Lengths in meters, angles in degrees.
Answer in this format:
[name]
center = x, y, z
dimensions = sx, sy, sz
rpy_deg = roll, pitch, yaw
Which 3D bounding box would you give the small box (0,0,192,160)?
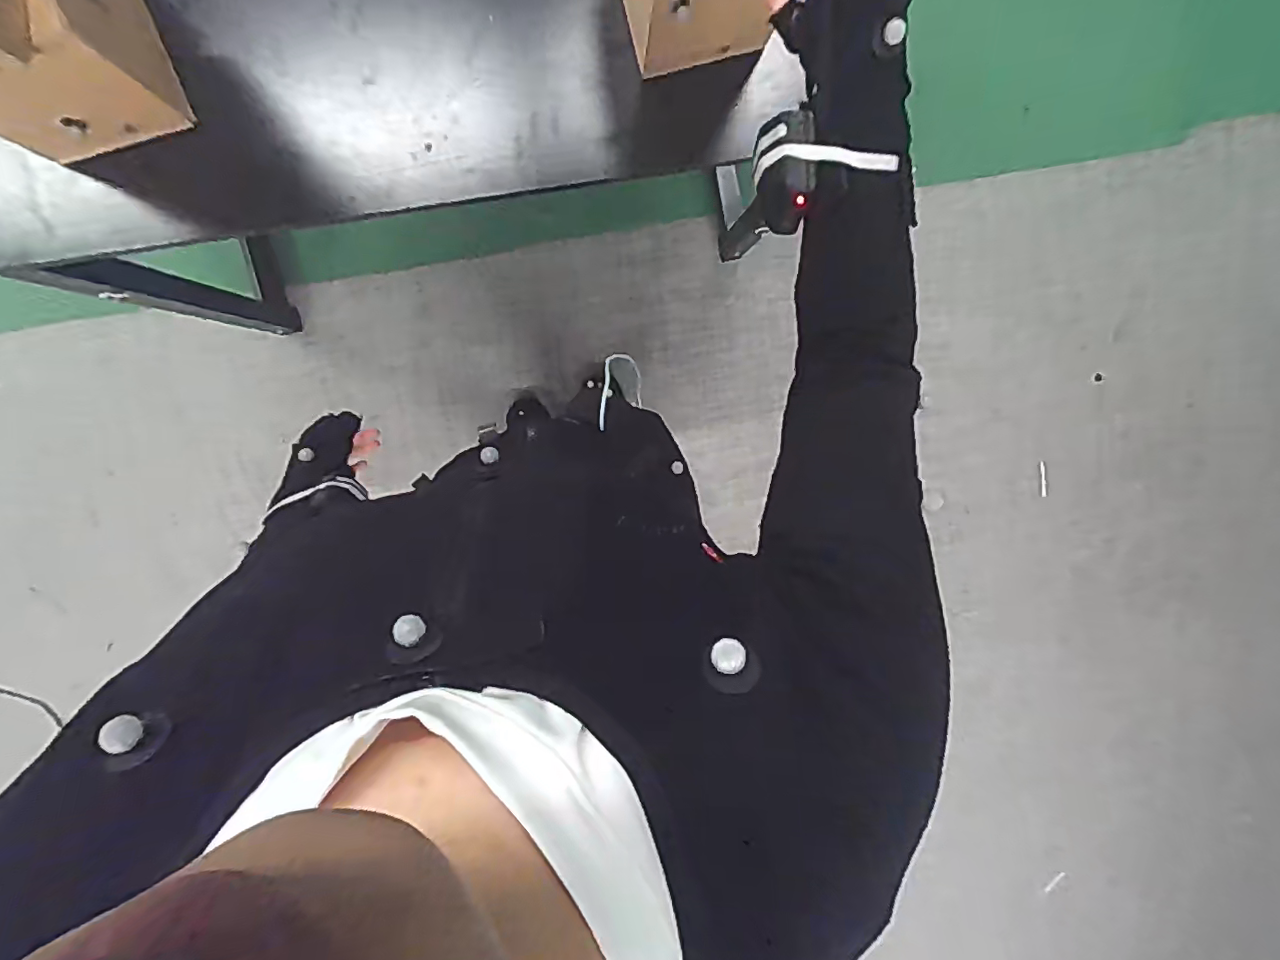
[small box]
center = -0.617, -0.464, 0.541
dimensions = 0.168, 0.176, 0.179
rpy_deg = -19, 101, -3
